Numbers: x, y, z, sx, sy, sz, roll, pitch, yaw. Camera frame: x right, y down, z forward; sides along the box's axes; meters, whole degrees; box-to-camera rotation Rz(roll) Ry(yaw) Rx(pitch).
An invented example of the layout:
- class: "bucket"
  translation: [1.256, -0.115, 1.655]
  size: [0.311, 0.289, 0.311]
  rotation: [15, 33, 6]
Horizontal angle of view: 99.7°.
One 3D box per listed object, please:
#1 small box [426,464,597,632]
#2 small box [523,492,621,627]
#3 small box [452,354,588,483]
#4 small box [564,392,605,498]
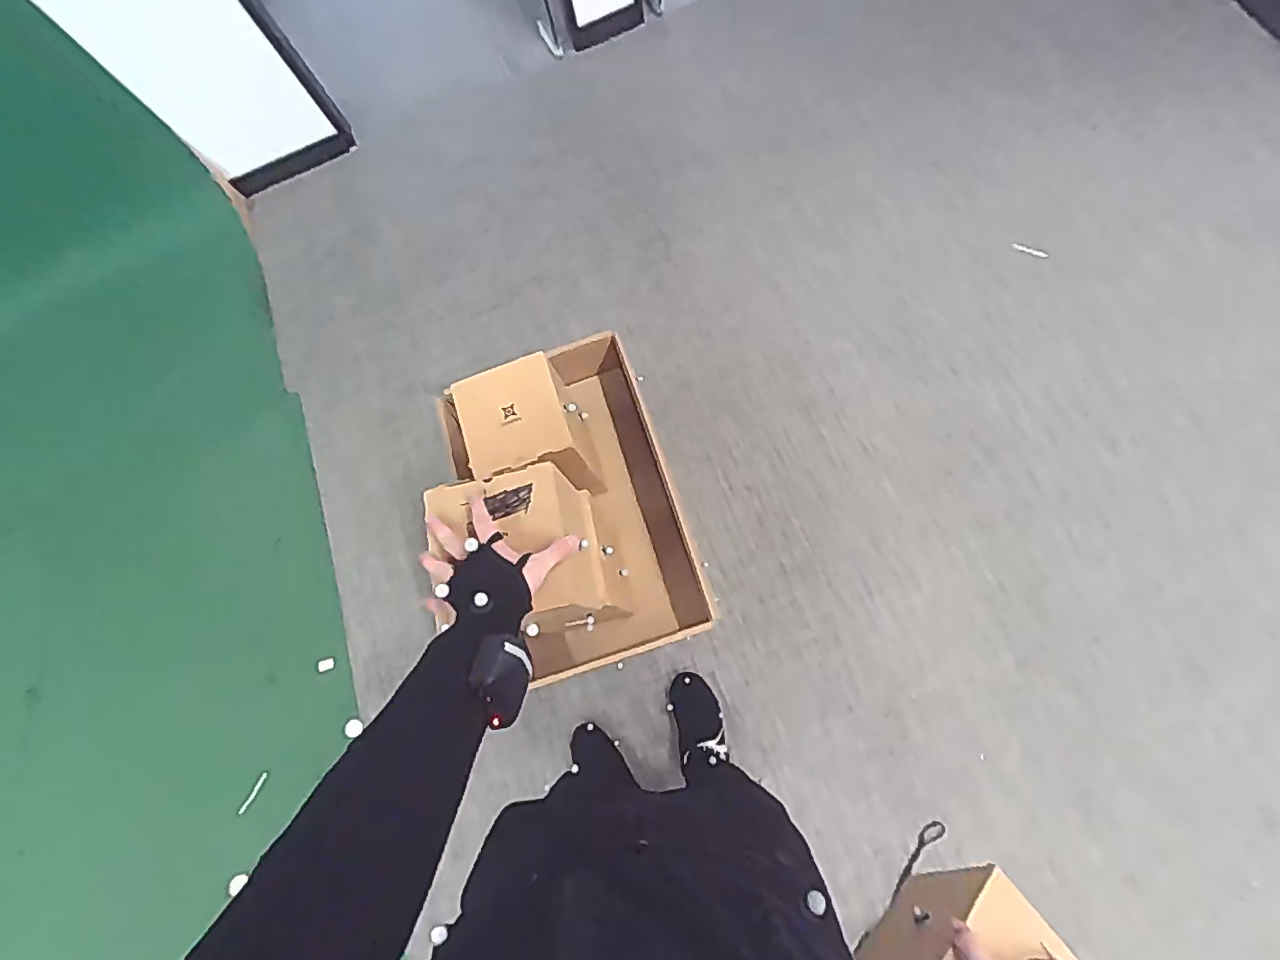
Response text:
- class: "small box"
  translation: [-0.161, 0.099, 0.716]
  size: [0.168, 0.176, 0.179]
  rotation: [-13, 74, 3]
- class: "small box"
  translation: [-0.134, 0.137, 0.873]
  size: [0.168, 0.176, 0.179]
  rotation: [-13, 72, 3]
- class: "small box"
  translation: [-0.202, -0.085, 0.944]
  size: [0.168, 0.176, 0.179]
  rotation: [-19, 75, 1]
- class: "small box"
  translation: [-0.183, -0.048, 1.101]
  size: [0.168, 0.176, 0.179]
  rotation: [-19, 75, 2]
